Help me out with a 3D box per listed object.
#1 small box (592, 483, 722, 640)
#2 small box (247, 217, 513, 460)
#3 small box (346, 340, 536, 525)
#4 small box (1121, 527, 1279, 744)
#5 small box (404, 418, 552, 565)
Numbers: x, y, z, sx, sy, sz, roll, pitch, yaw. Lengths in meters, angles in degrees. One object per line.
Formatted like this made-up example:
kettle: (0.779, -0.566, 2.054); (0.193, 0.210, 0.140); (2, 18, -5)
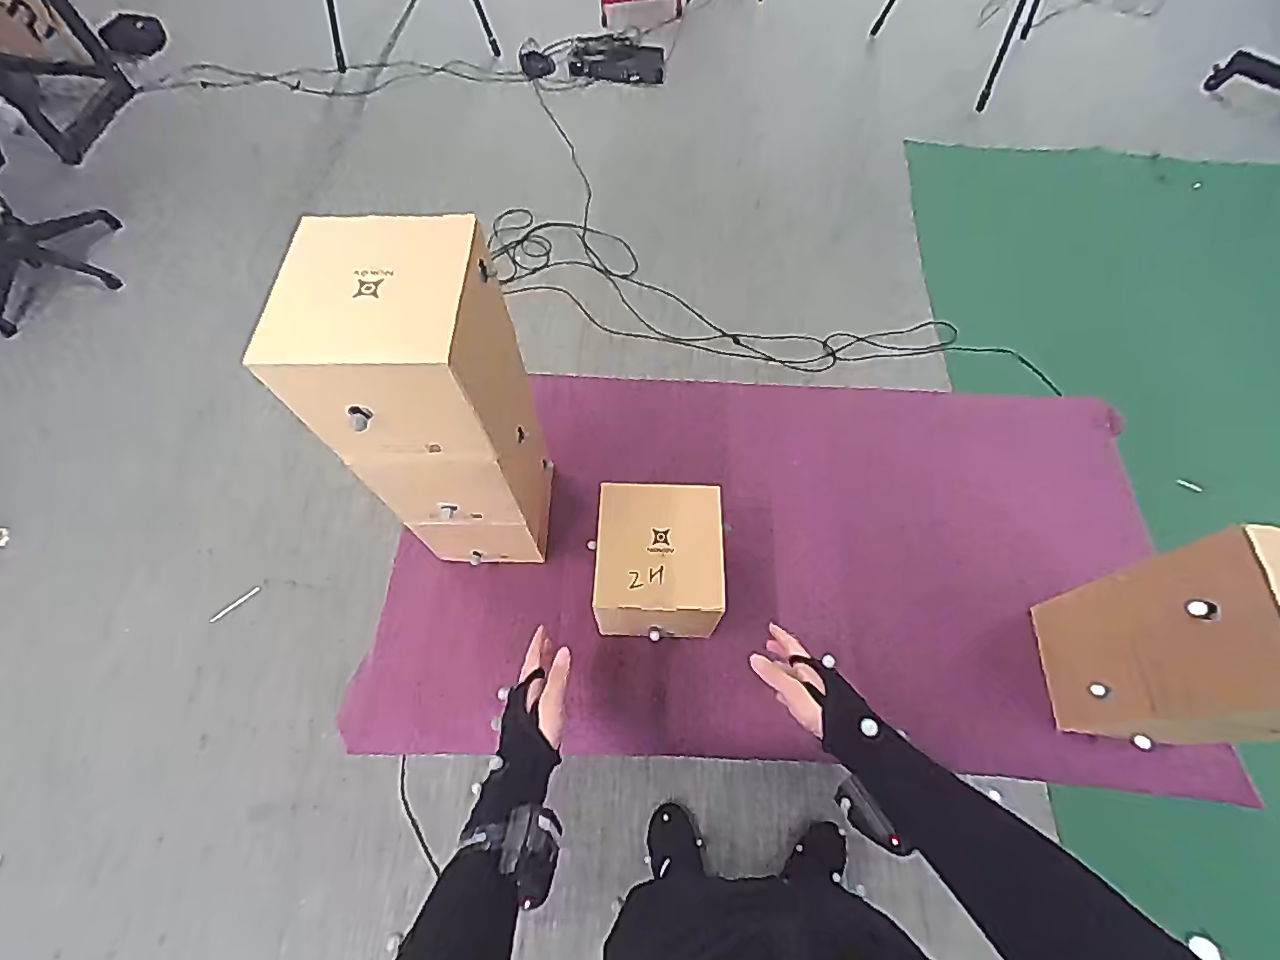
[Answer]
small box: (0.024, 0.121, 0.776); (0.168, 0.176, 0.179); (2, 63, 1)
small box: (-0.231, -0.130, 0.537); (0.168, 0.176, 0.179); (0, 63, 1)
small box: (-0.231, -0.056, 0.682); (0.168, 0.176, 0.179); (0, 64, 1)
small box: (0.667, 0.170, 0.568); (0.168, 0.176, 0.179); (6, 62, 4)
small box: (-0.232, 0.019, 0.827); (0.168, 0.176, 0.179); (1, 64, 1)
